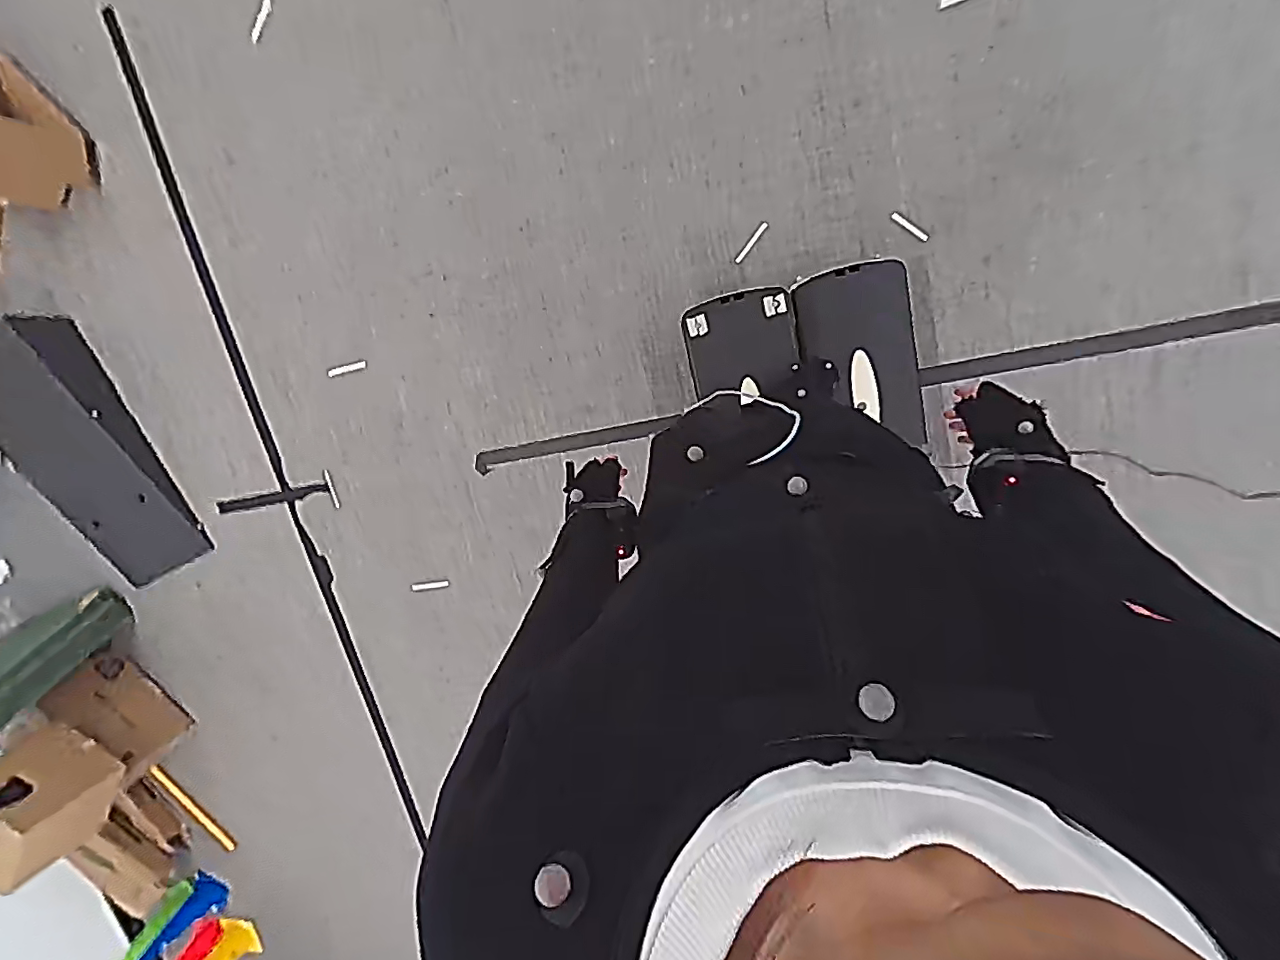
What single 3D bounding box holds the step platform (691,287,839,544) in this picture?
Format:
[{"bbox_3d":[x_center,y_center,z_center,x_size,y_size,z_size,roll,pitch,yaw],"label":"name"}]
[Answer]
[{"bbox_3d":[0.345,-0.165,1.485,0.286,0.204,0.684,-11,101,14],"label":"step platform"}]
